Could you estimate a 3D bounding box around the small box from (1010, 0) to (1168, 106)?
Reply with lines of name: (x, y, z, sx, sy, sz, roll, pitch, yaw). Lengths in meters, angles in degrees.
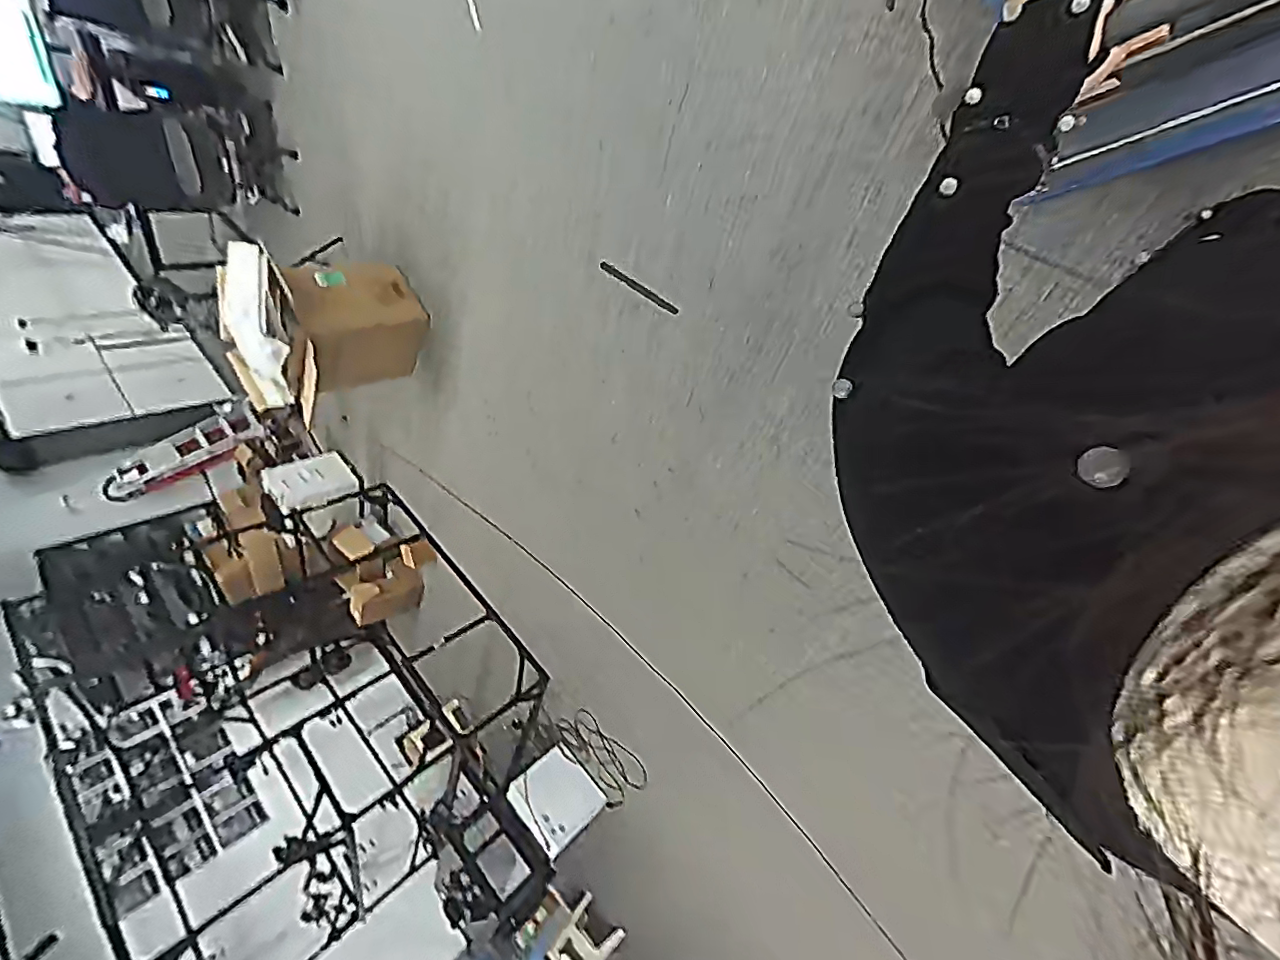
small box: (0.690, -0.709, 0.830, 0.168, 0.176, 0.179, -8, 104, 45)
